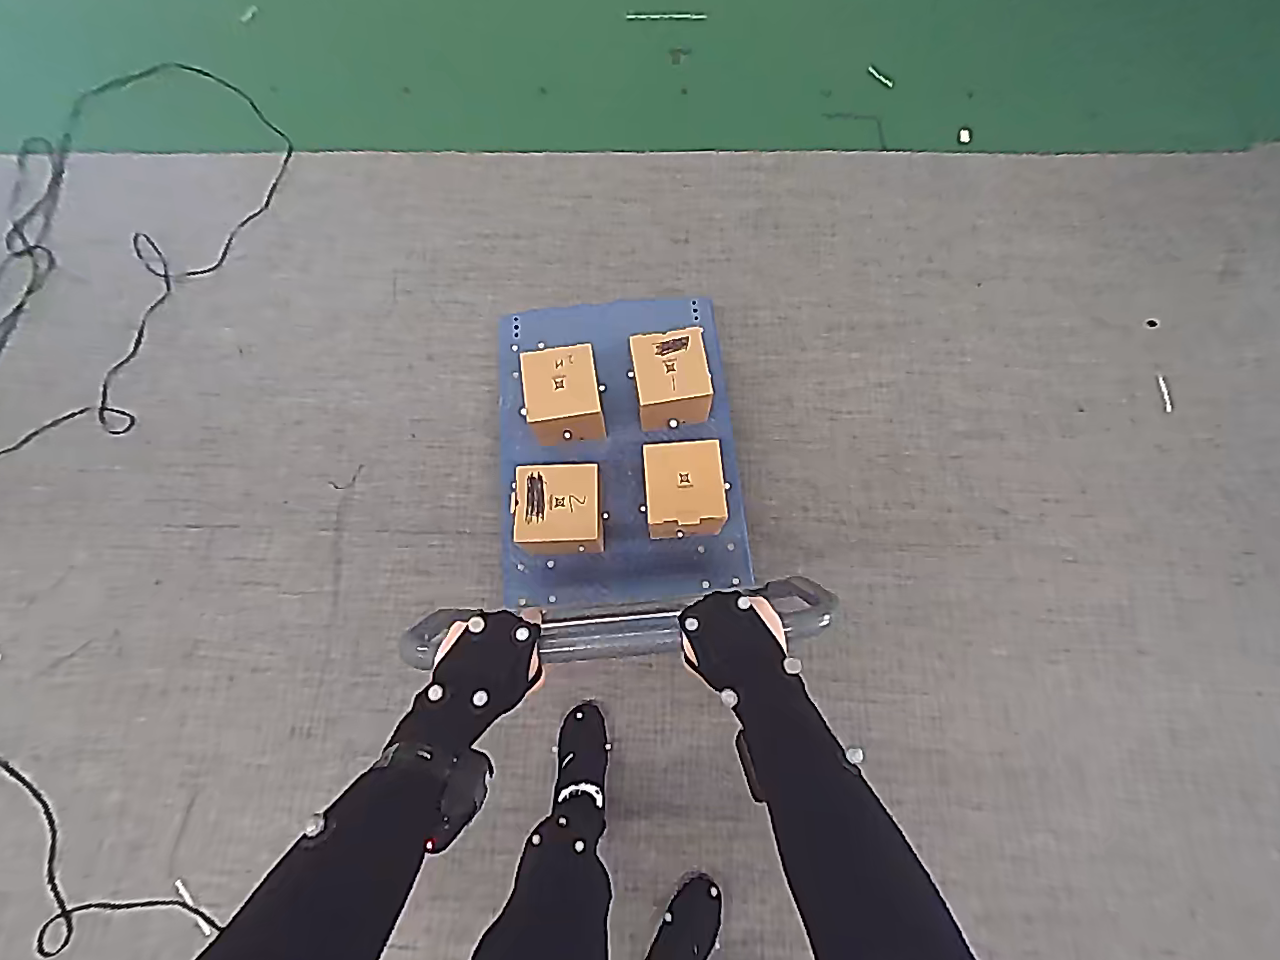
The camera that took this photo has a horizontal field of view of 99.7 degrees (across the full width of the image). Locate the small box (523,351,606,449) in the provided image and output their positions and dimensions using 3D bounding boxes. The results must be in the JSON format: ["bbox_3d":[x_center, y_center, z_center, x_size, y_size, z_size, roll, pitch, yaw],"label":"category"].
[{"bbox_3d":[-0.178,-0.184,1.305,0.168,0.176,0.179,-9,73,-2],"label":"small box"}]

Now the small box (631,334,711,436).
[{"bbox_3d":[0.071,-0.225,1.311,0.168,0.176,0.179,-9,74,0],"label":"small box"}]

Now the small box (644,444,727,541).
[{"bbox_3d":[0.096,0.033,1.233,0.168,0.176,0.179,-5,73,0],"label":"small box"}]
